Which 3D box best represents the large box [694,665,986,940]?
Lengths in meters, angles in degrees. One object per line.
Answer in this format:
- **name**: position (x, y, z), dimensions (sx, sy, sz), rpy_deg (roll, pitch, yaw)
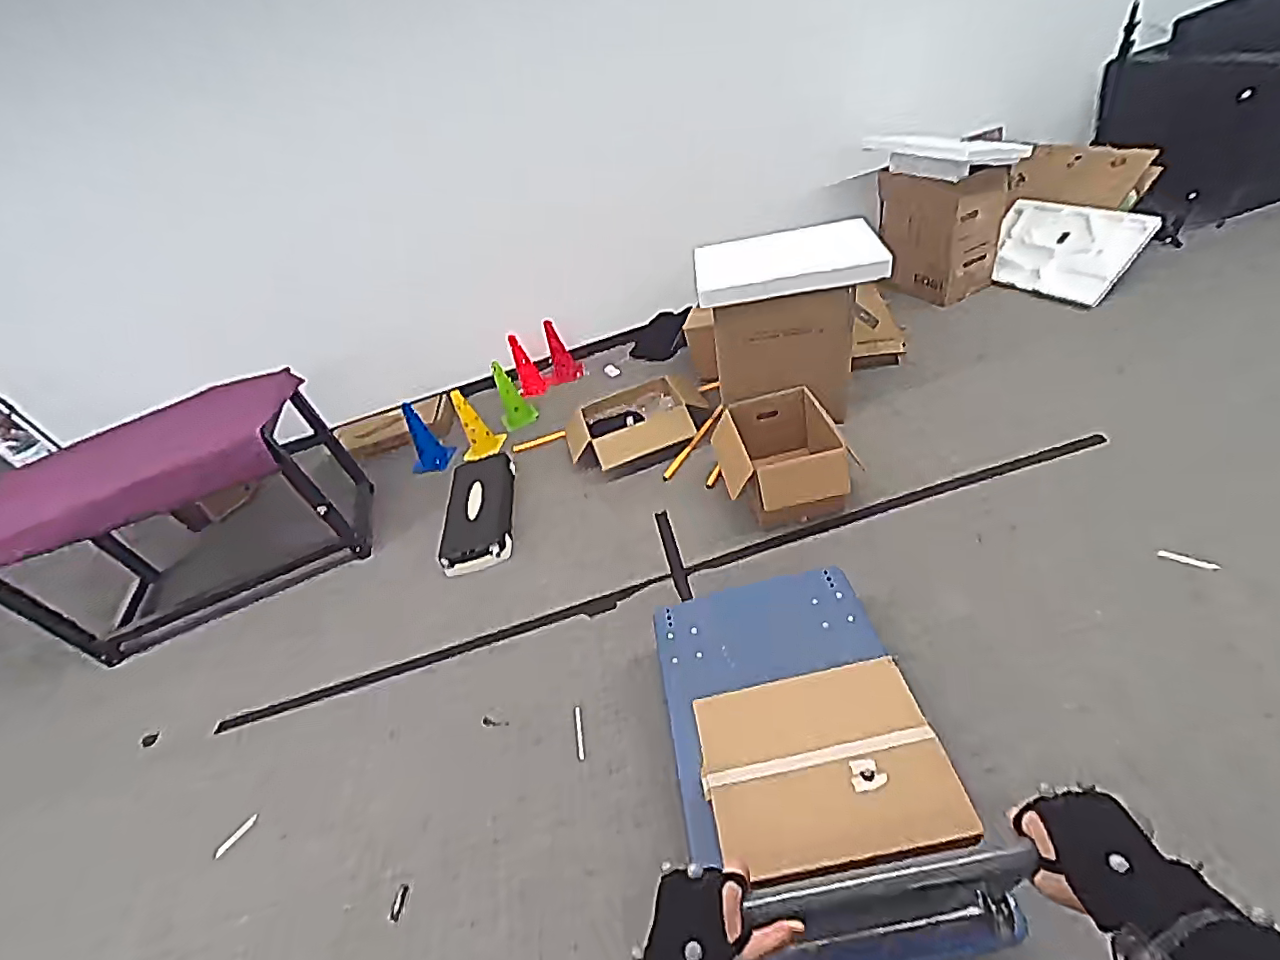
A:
- **large box**: position (0.344, 0.609, 1.026), dimensions (0.408, 0.320, 0.320), rpy_deg (-14, 39, 3)
